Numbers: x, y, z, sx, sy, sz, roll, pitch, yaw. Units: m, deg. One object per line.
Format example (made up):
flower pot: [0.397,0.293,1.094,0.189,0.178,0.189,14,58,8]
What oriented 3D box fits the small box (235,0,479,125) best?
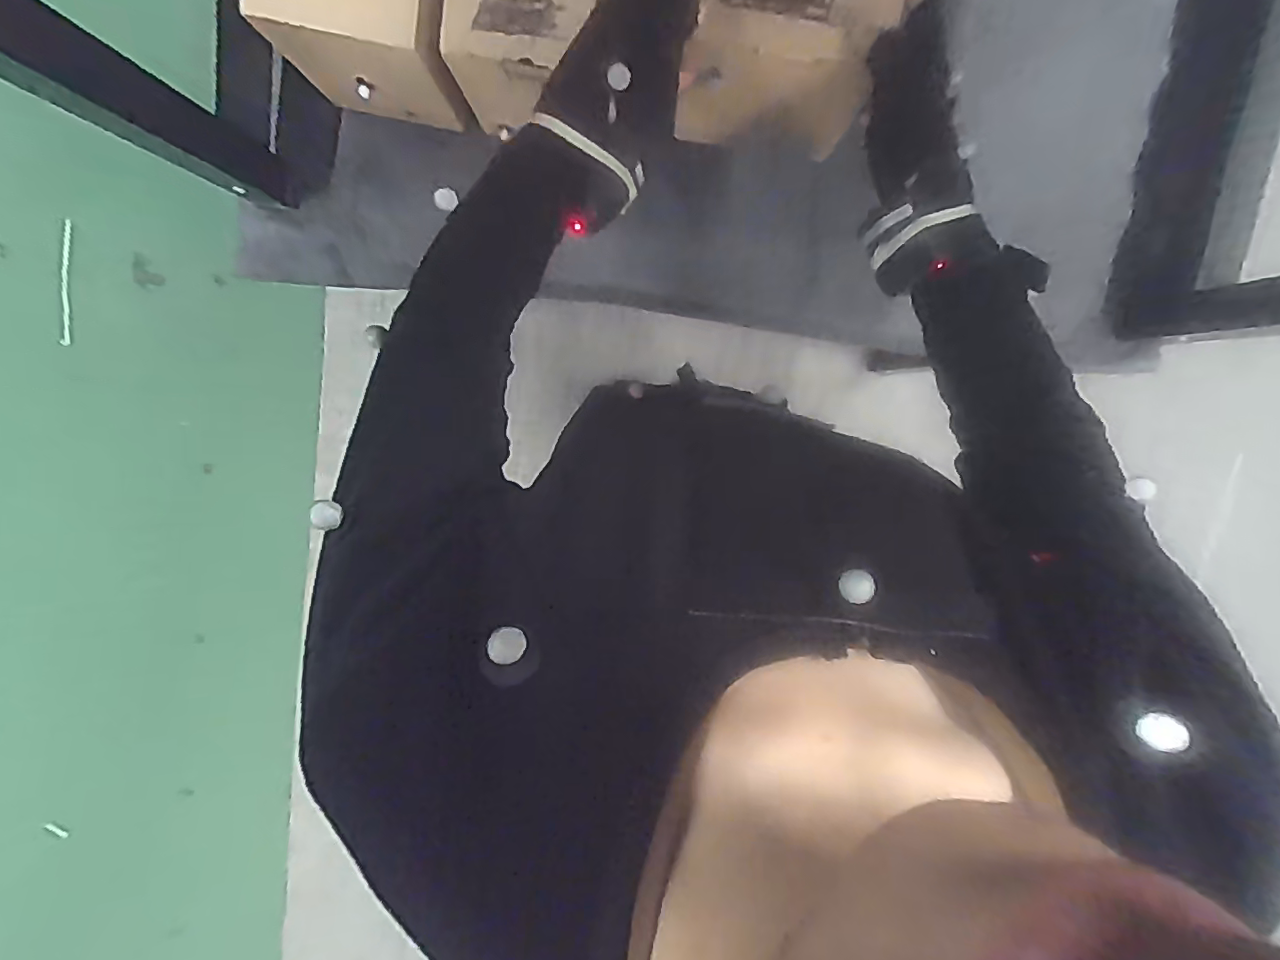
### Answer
small box: [-0.278,-0.512,0.565,0.168,0.176,0.179,11,99,-4]
